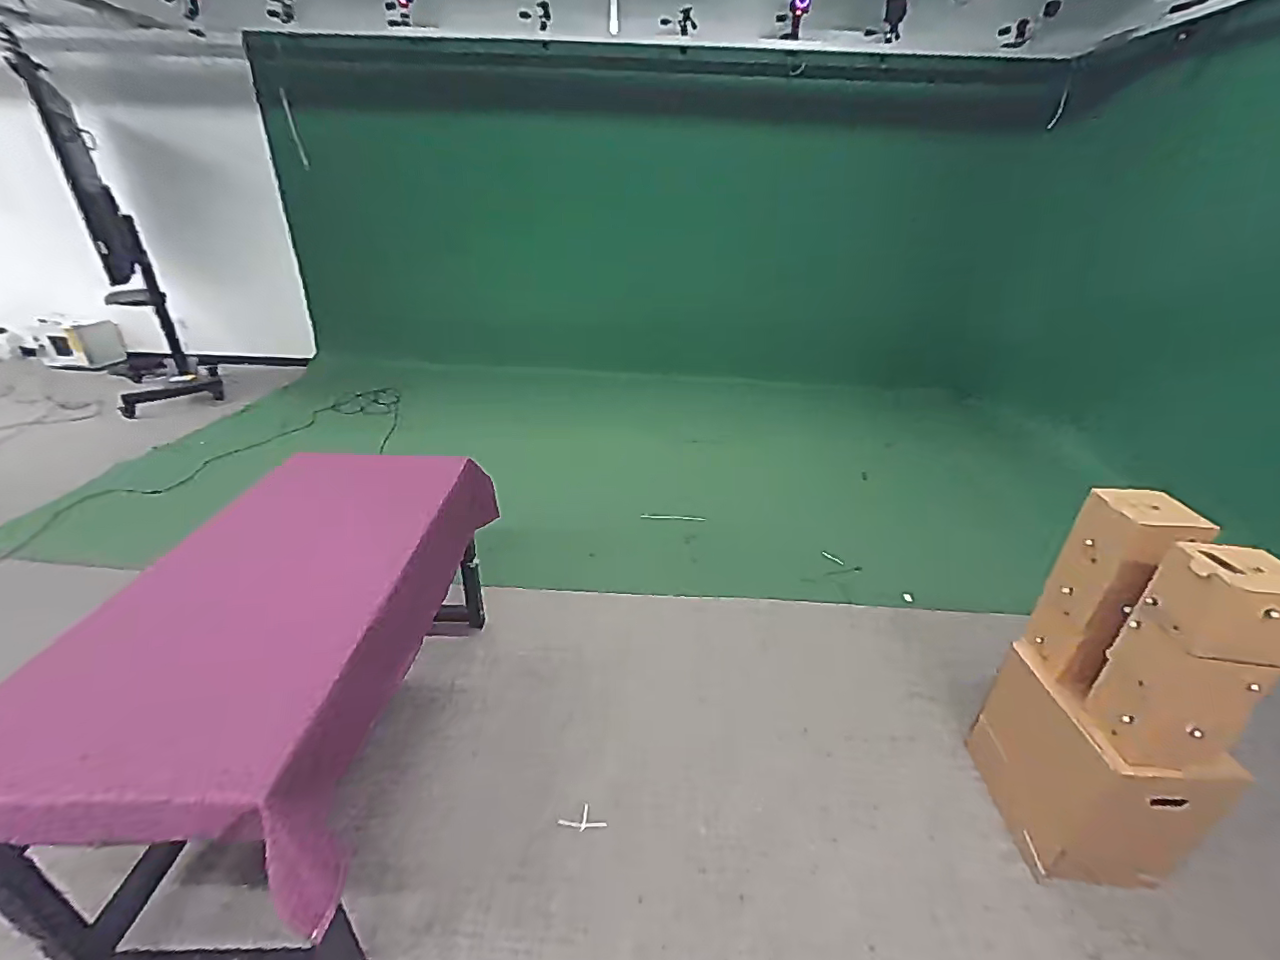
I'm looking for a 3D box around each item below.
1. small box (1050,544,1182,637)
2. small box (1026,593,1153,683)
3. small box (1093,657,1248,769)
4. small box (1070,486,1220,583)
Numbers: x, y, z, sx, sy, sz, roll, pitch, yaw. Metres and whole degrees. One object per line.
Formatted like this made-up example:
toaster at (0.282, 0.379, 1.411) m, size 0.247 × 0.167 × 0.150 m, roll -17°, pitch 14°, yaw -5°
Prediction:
small box at (1.188, 0.279, 1.373) m, size 0.179 × 0.176 × 0.168 m, roll 2°, pitch 29°, yaw 3°
small box at (1.191, 0.424, 1.450) m, size 0.179 × 0.176 × 0.168 m, roll 1°, pitch 29°, yaw 2°
small box at (1.193, 0.533, 1.240) m, size 0.179 × 0.176 × 0.168 m, roll 4°, pitch 27°, yaw 4°
small box at (1.194, 0.132, 1.297) m, size 0.179 × 0.176 × 0.168 m, roll 2°, pitch 28°, yaw 3°
